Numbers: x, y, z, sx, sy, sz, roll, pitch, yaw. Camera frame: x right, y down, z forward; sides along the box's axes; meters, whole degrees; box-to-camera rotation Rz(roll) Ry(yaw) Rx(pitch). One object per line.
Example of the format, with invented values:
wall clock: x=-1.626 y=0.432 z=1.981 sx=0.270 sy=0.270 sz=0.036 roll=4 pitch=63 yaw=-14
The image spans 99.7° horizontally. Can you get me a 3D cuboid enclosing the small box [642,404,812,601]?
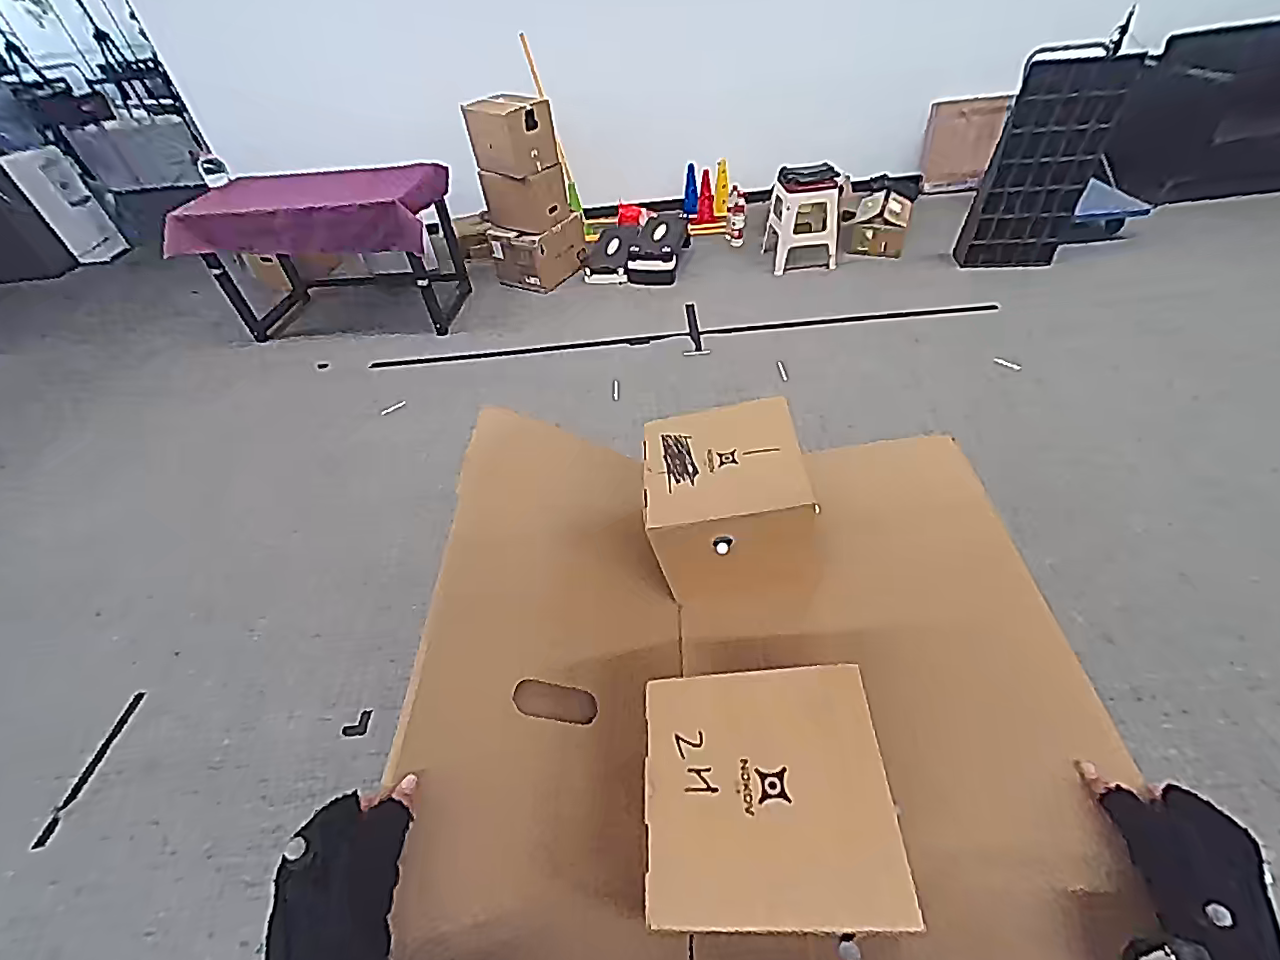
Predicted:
small box: x=0.108 y=0.036 z=0.671 sx=0.179 sy=0.176 sz=0.168 roll=-10 pitch=48 yaw=10

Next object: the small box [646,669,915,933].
small box: x=0.109 y=0.276 z=0.461 sx=0.179 sy=0.176 sz=0.168 roll=-9 pitch=48 yaw=12
